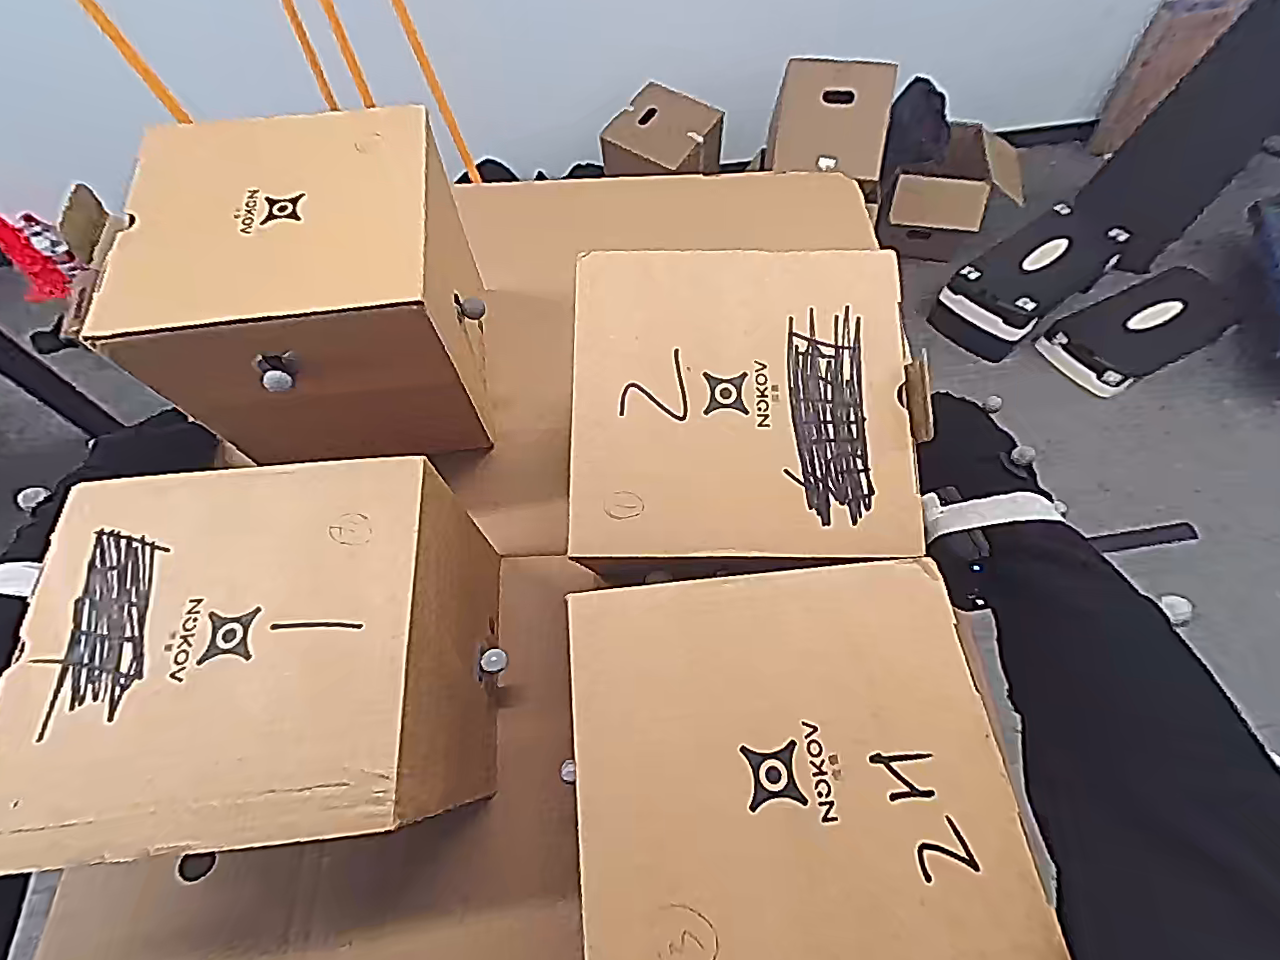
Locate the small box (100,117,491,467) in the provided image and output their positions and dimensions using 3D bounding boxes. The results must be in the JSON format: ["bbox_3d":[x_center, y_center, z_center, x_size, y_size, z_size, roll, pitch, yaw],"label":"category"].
[{"bbox_3d":[-0.212,-0.124,0.396,0.179,0.176,0.168,-8,66,-3],"label":"small box"}]
